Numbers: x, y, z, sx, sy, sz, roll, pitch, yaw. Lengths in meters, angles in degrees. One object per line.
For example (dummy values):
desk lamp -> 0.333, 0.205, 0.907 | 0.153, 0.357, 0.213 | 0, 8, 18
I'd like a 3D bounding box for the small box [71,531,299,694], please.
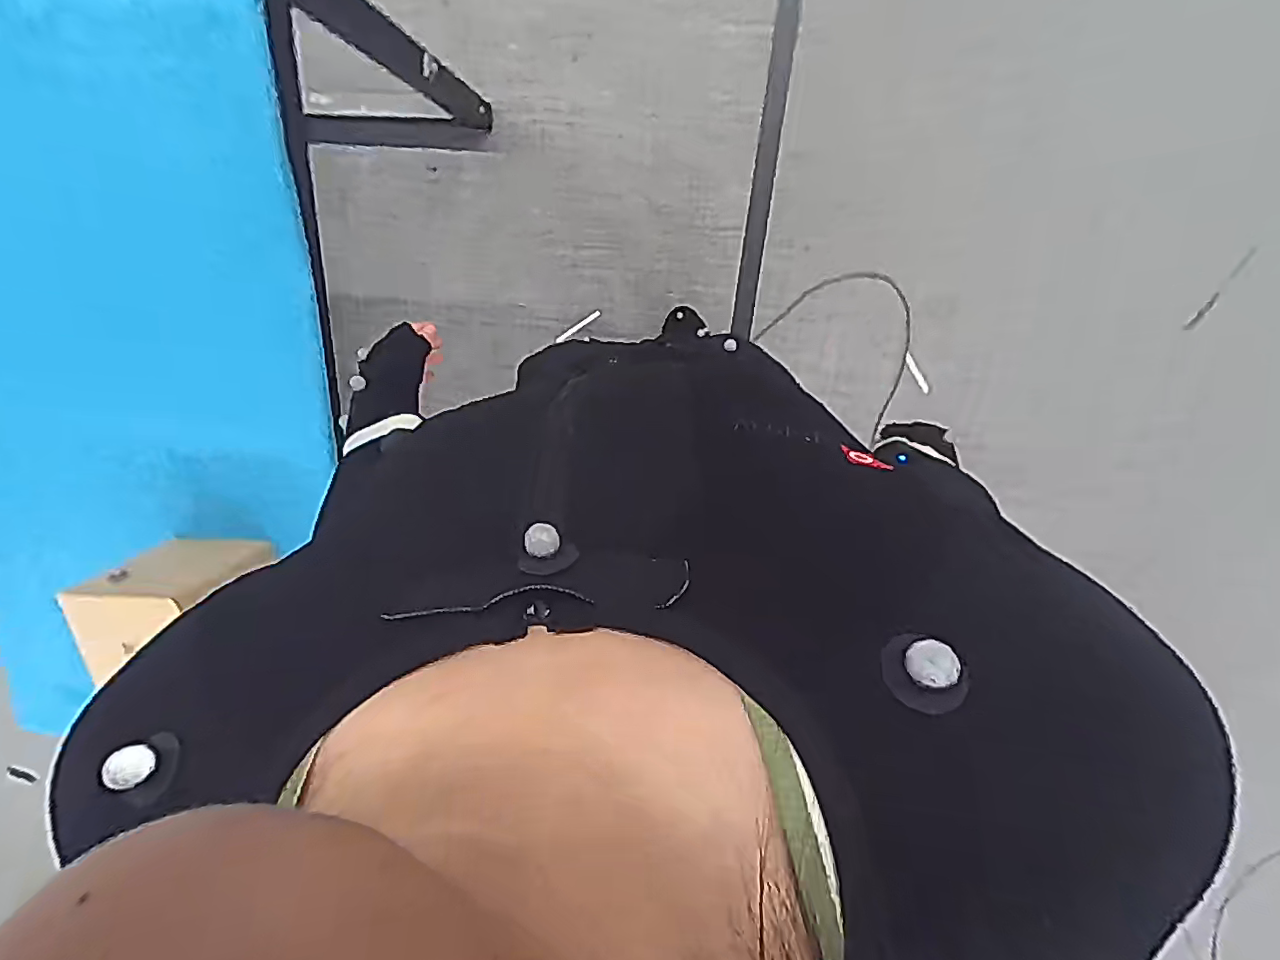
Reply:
small box -> -0.653, 0.186, 0.800 | 0.179, 0.176, 0.168 | 4, 111, 3
